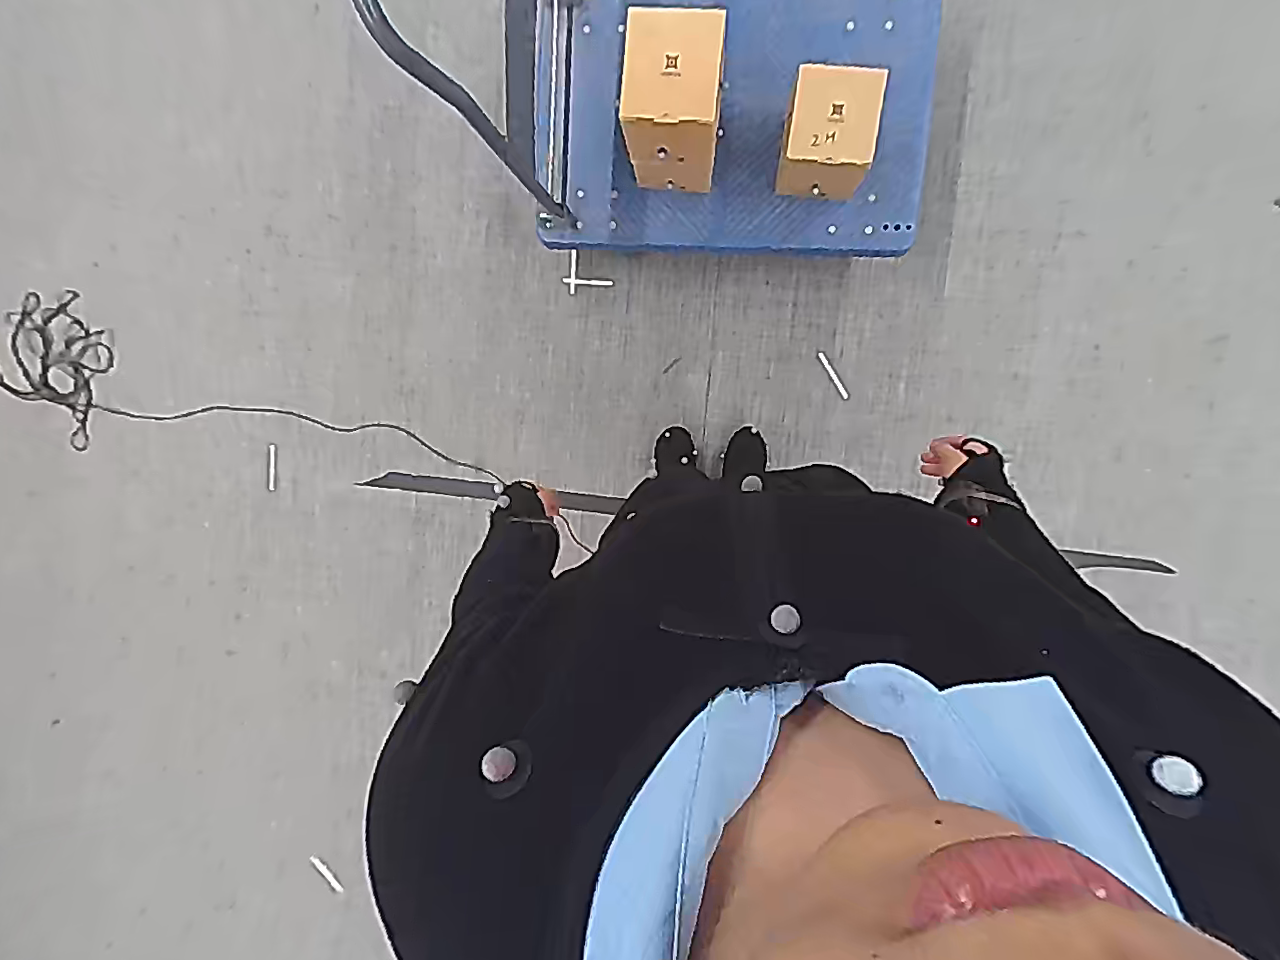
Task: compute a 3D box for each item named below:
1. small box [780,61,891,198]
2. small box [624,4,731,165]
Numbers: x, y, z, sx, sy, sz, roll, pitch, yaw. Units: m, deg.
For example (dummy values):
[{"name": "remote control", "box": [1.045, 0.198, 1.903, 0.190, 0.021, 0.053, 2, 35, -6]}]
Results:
[{"name": "small box", "box": [0.391, -0.712, 1.113, 0.168, 0.176, 0.179, 8, 97, 6]}, {"name": "small box", "box": [0.068, -0.707, 0.983, 0.168, 0.176, 0.179, 6, 98, 5]}]
